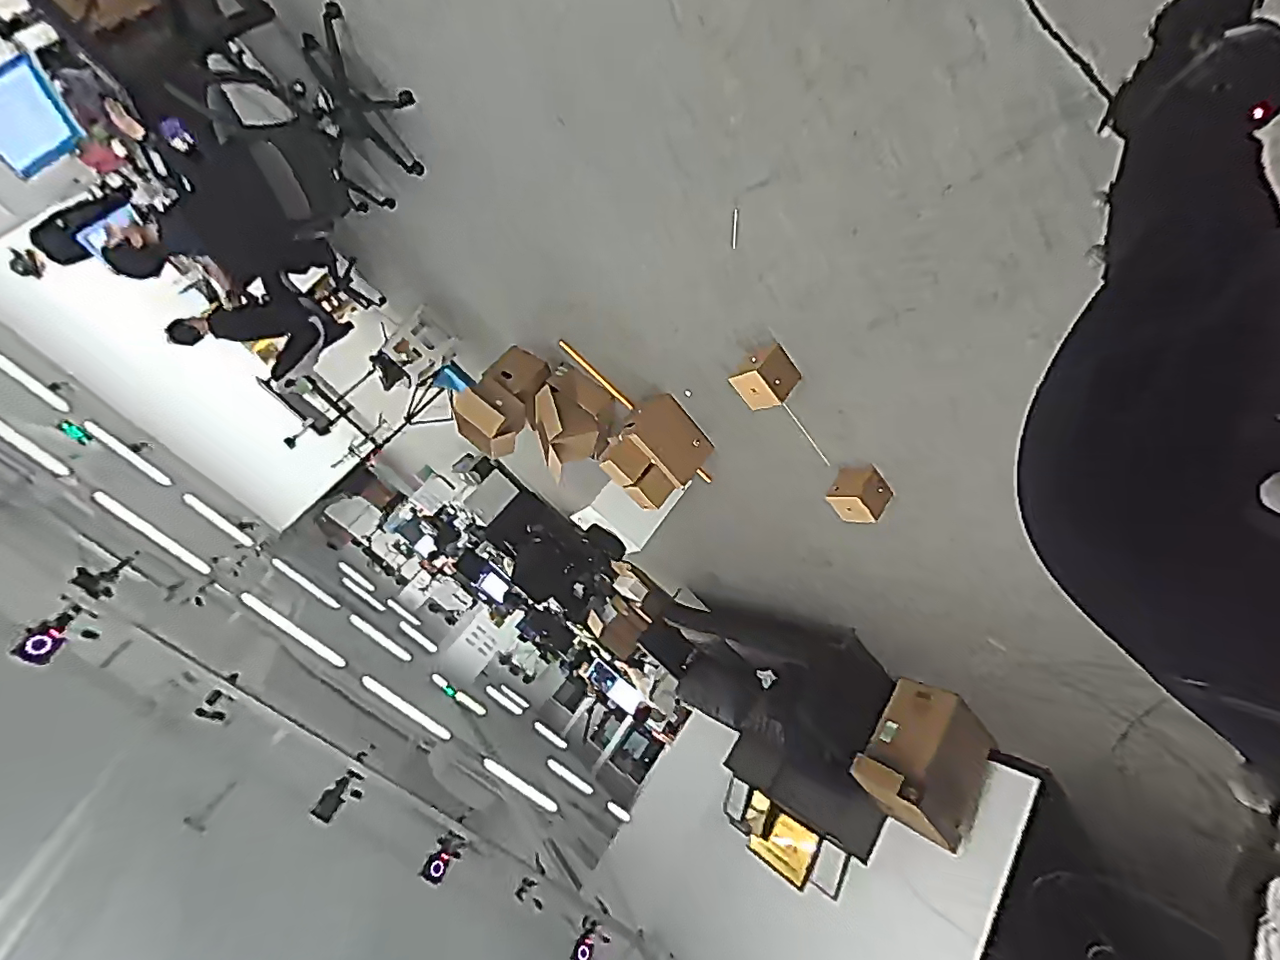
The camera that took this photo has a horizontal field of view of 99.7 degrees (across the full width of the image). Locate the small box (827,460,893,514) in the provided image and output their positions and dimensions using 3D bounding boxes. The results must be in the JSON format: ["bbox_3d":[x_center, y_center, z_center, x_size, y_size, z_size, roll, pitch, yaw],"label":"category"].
[{"bbox_3d":[0.952,0.030,2.338,0.168,0.176,0.179,45,158,-20],"label":"small box"}]

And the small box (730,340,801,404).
[{"bbox_3d":[0.493,-0.428,2.117,0.179,0.176,0.168,45,158,-20],"label":"small box"}]
